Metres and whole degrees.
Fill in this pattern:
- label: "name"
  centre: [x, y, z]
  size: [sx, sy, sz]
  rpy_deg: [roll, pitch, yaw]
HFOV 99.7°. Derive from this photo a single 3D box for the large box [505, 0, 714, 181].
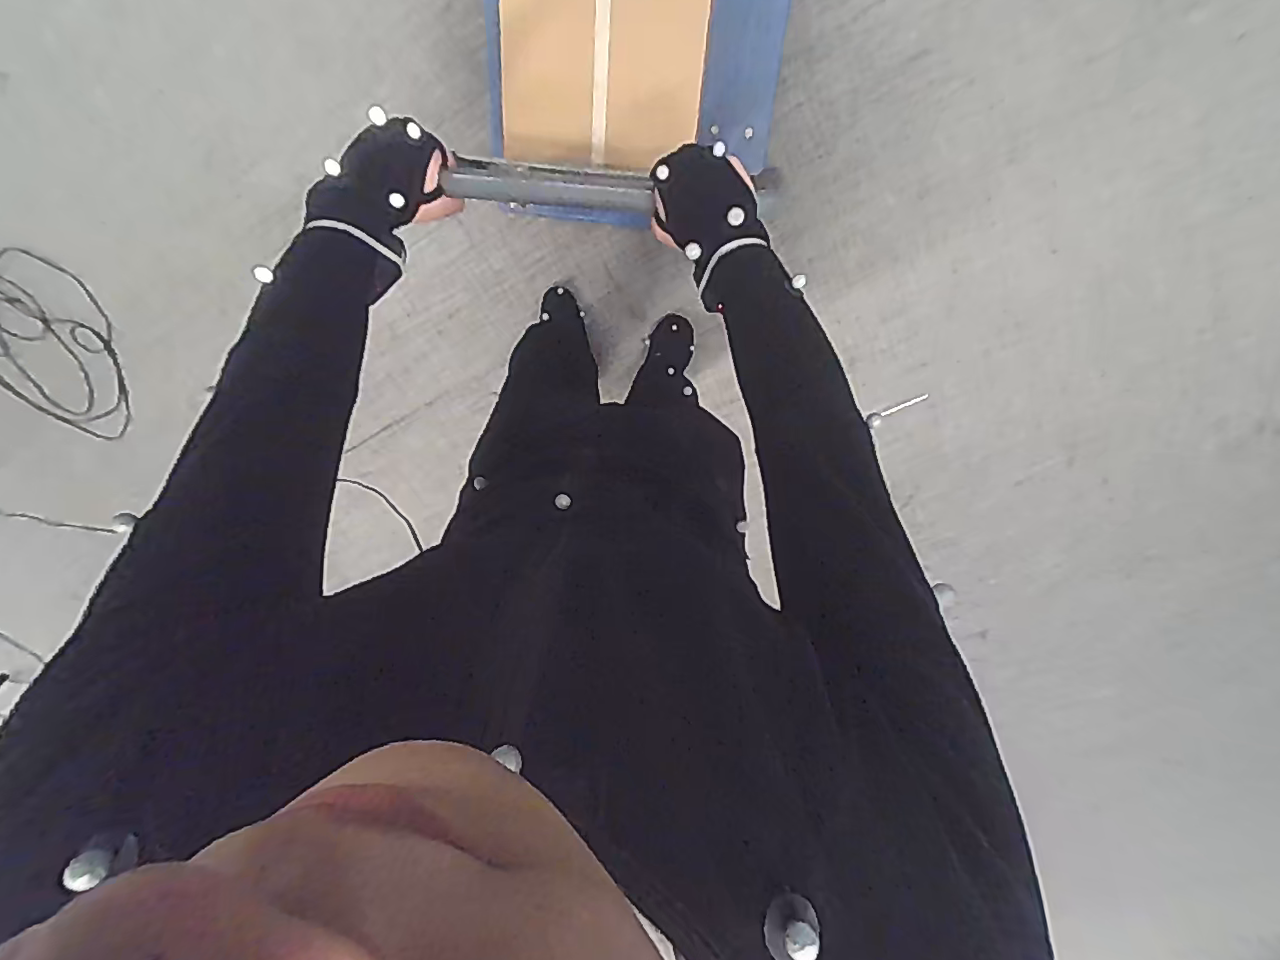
- label: "large box"
  centre: [-0.036, -0.764, 0.945]
  size: [0.320, 0.320, 0.408]
  rpy_deg: [7, 118, 2]
